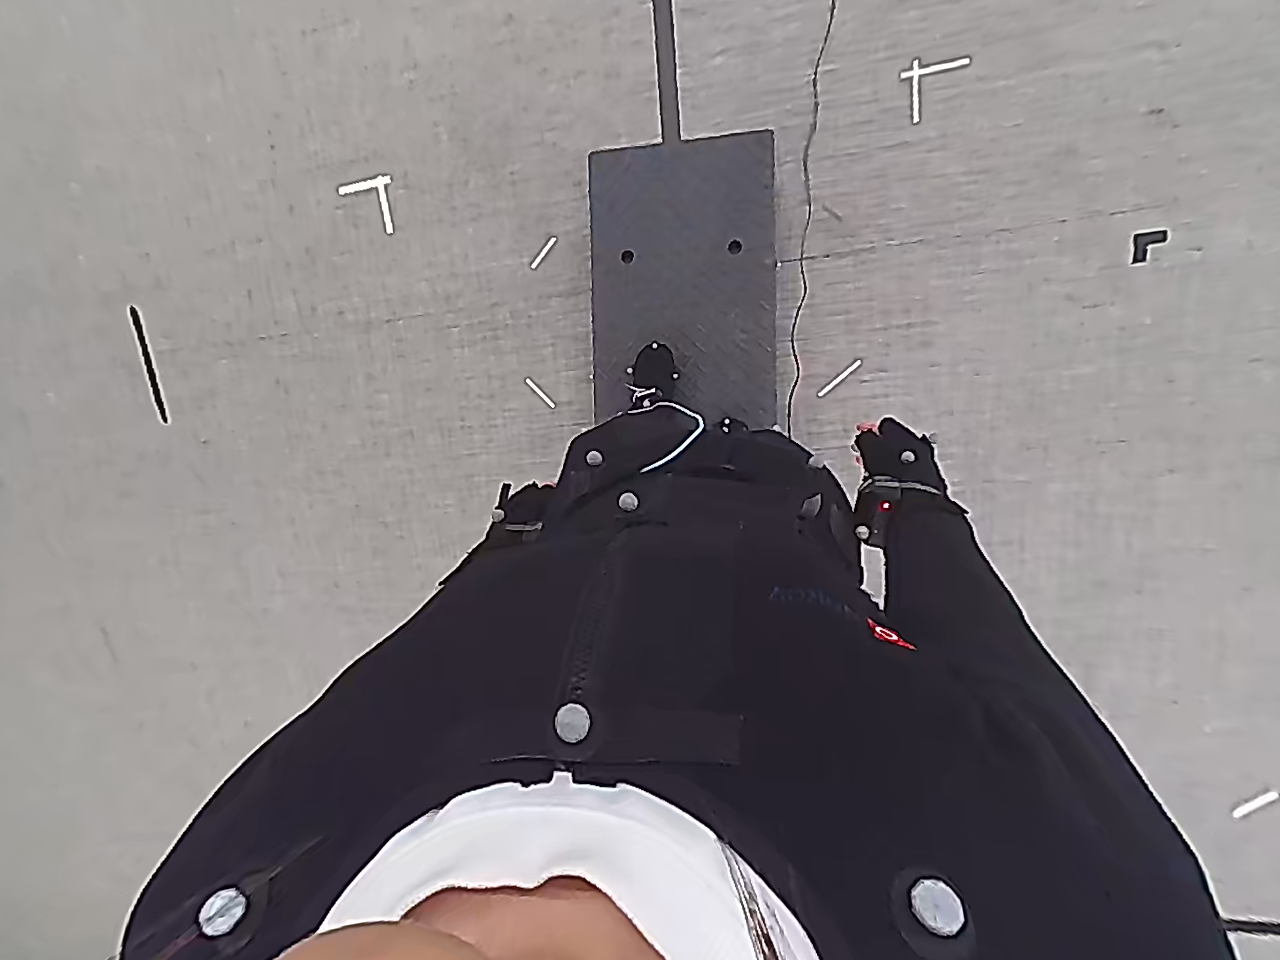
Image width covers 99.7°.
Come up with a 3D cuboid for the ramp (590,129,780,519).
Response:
[{"bbox_3d":[0.112,-0.395,1.437,0.509,0.206,0.991,-3,101,11],"label":"ramp"}]
